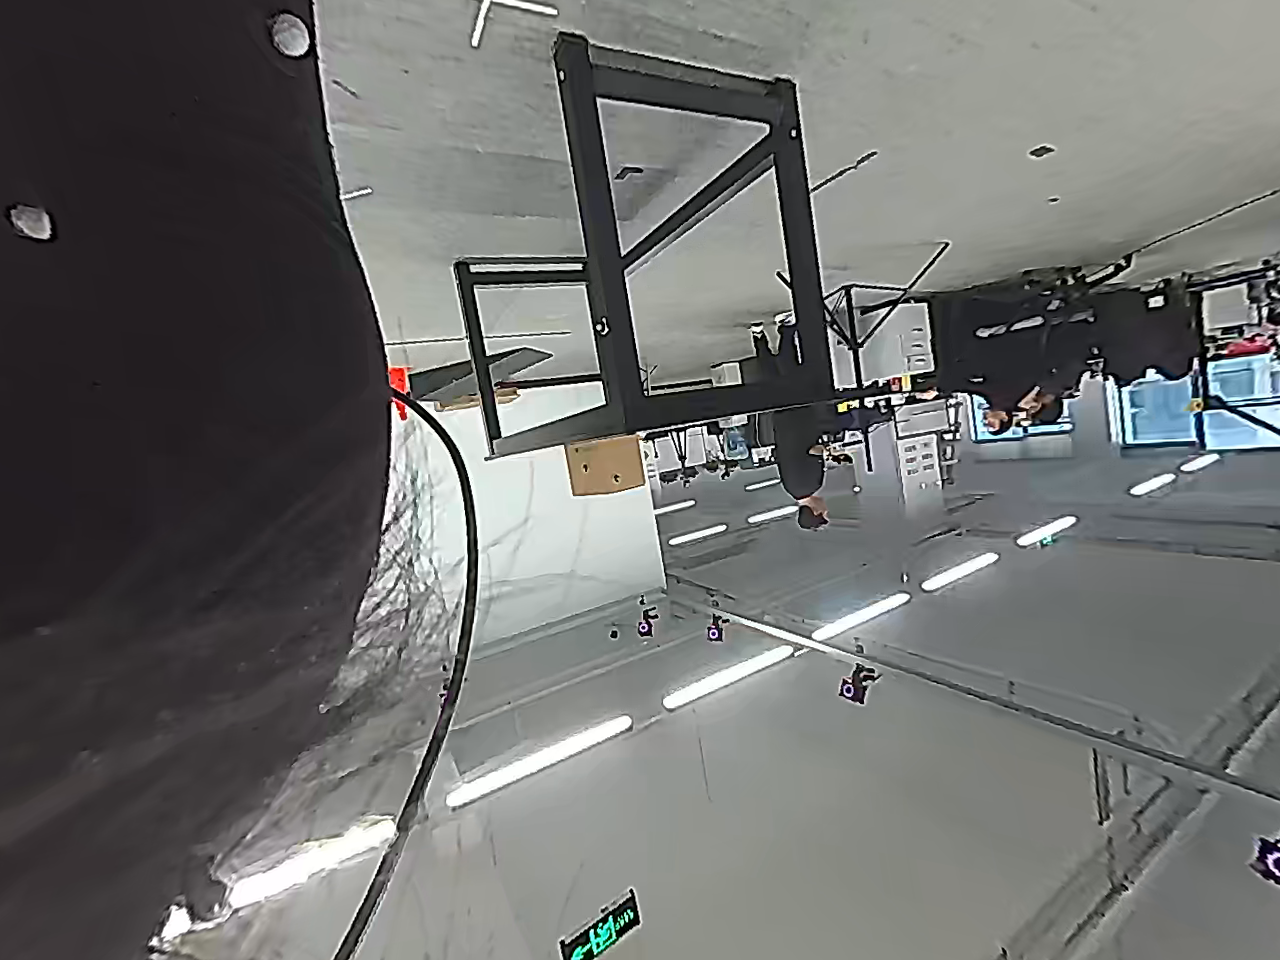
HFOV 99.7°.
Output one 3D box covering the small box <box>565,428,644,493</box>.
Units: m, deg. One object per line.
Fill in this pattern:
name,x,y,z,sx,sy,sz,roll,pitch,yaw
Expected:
small box,-0.116,-0.063,1.714,0.168,0.176,0.179,-5,-172,44
